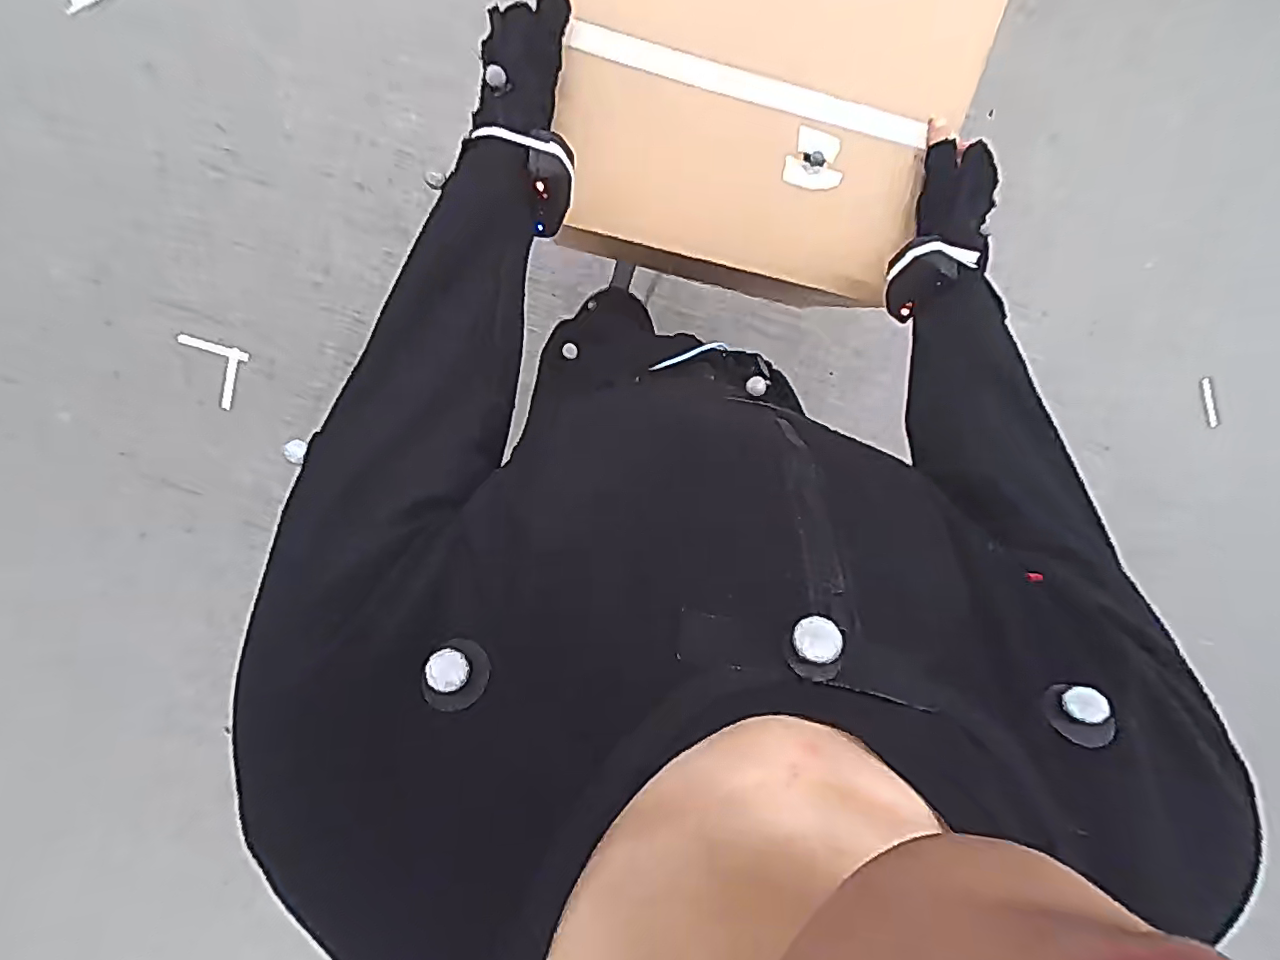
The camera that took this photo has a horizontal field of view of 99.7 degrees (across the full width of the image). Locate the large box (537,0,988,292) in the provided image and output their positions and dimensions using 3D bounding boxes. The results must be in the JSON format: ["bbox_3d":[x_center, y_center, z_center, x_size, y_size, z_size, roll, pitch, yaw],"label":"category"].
[{"bbox_3d":[0.104,-0.432,0.669,0.408,0.320,0.320,11,109,-8],"label":"large box"}]
